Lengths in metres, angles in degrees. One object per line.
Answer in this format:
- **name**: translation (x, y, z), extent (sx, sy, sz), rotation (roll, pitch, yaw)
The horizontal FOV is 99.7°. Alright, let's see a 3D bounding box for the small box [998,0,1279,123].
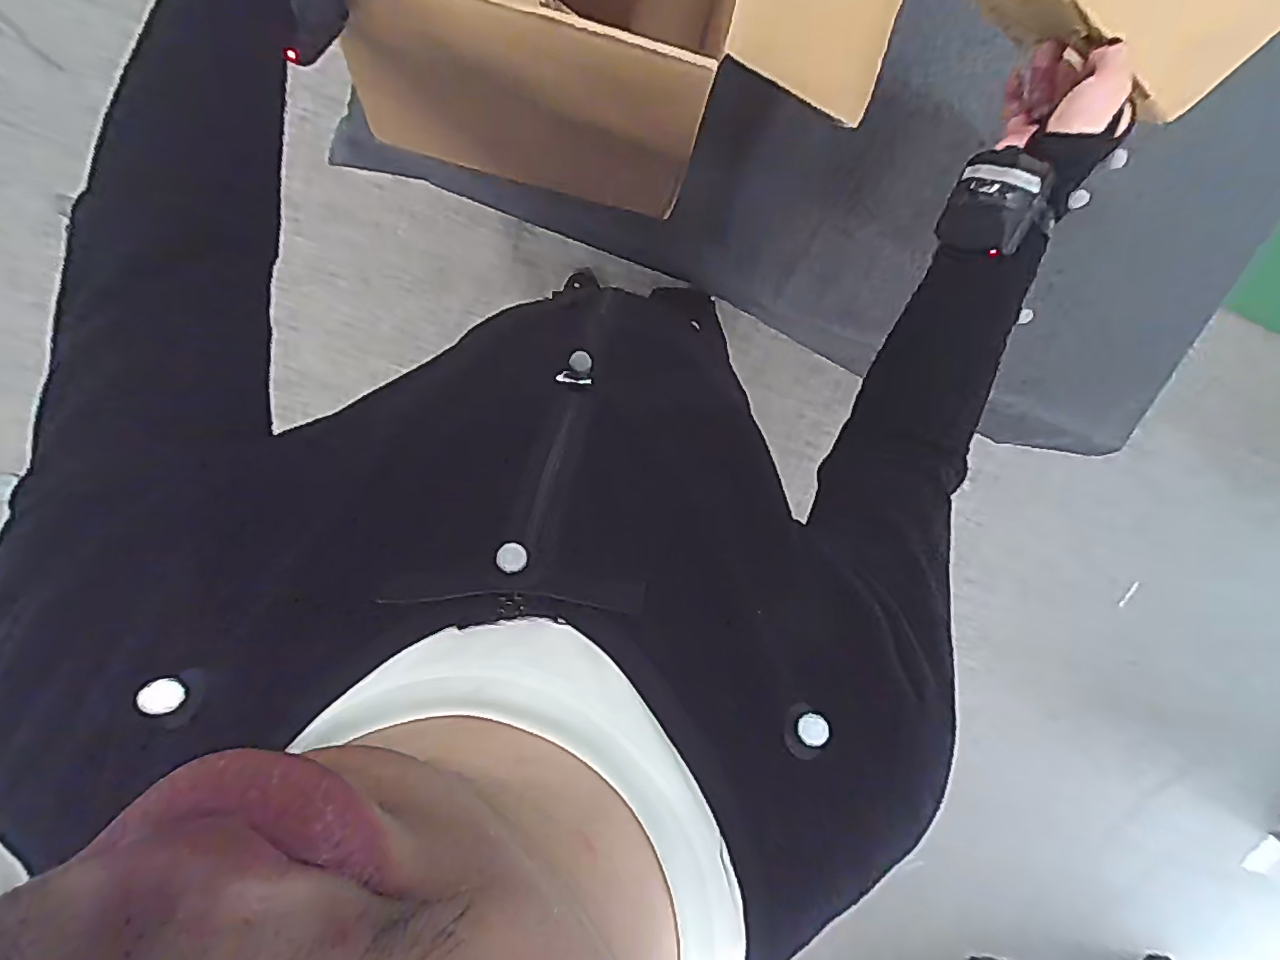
- **small box**: translation (0.394, -0.414, 0.398), extent (0.168, 0.176, 0.179), rotation (28, 130, -20)
